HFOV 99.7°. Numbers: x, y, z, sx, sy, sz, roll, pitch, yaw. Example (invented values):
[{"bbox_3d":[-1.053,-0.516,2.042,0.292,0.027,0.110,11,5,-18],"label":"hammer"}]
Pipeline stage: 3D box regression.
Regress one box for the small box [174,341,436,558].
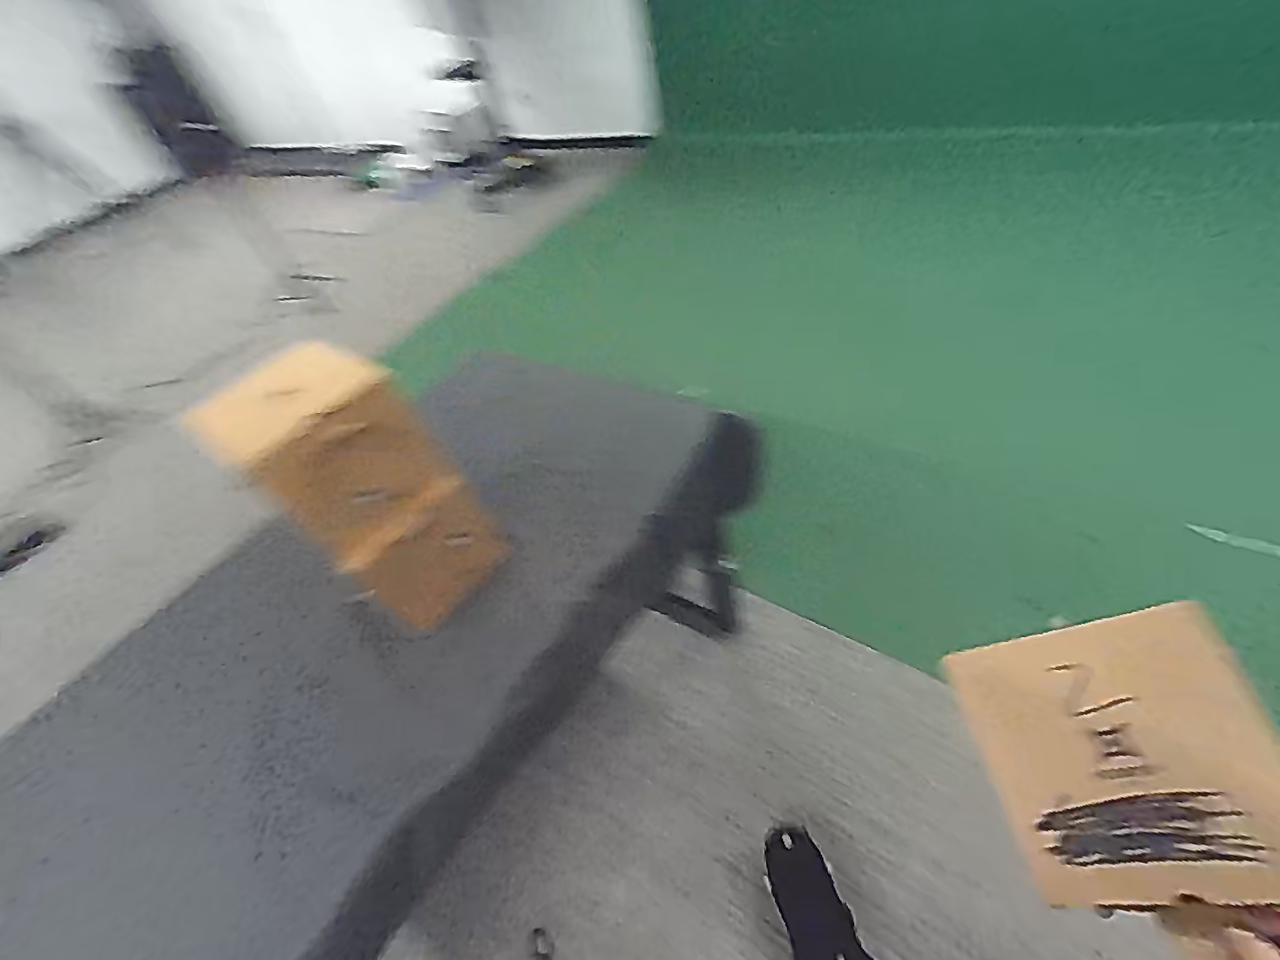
[{"bbox_3d":[-0.383,-0.036,0.642,0.179,0.176,0.168,24,58,32],"label":"small box"}]
